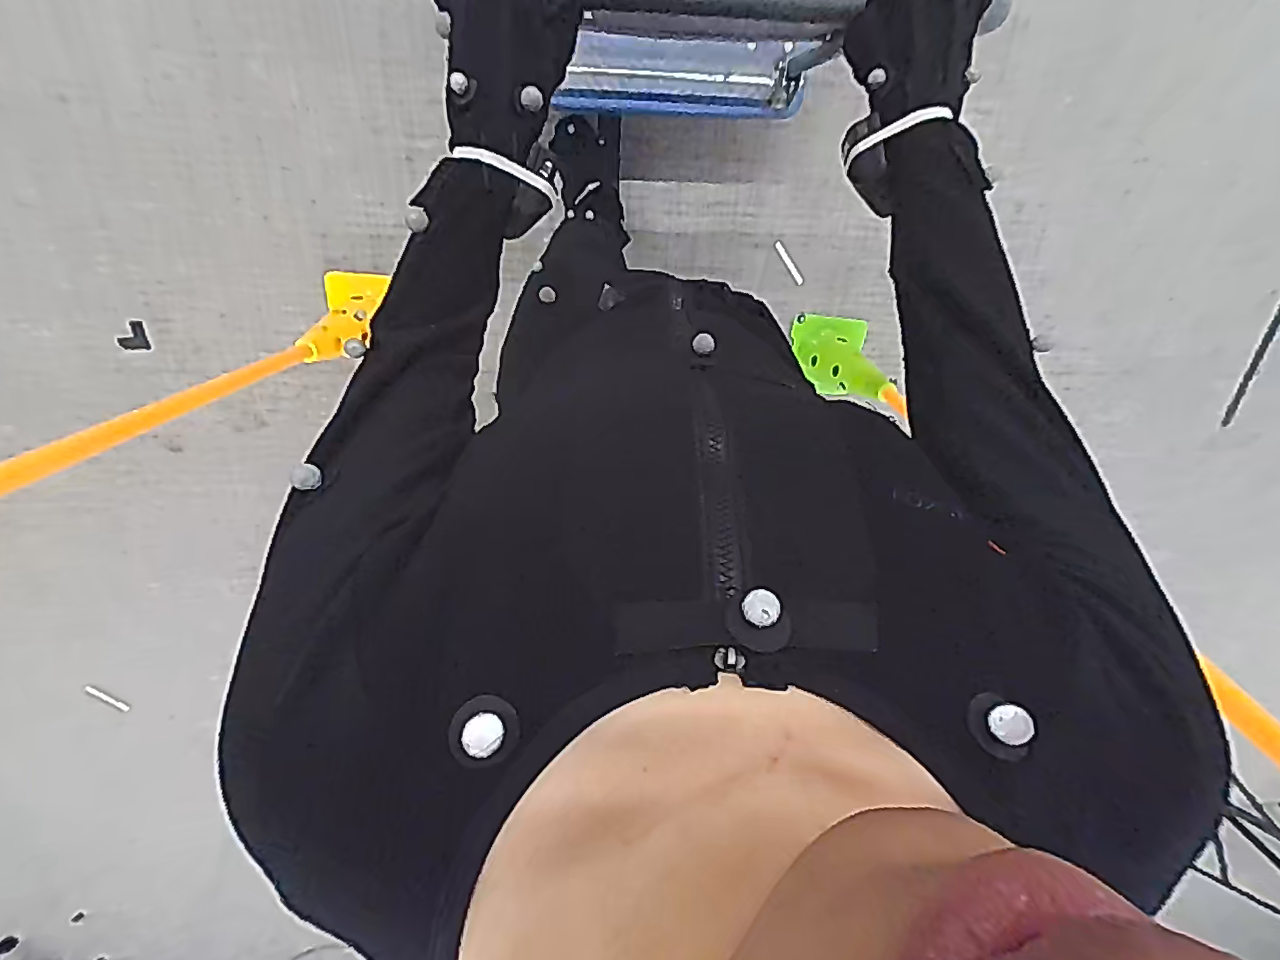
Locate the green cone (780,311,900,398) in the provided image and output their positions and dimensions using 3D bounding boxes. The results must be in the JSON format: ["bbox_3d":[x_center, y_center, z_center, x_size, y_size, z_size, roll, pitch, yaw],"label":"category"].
[{"bbox_3d":[0.496,-0.263,1.275,0.202,0.368,0.200,3,116,-7],"label":"green cone"}]
